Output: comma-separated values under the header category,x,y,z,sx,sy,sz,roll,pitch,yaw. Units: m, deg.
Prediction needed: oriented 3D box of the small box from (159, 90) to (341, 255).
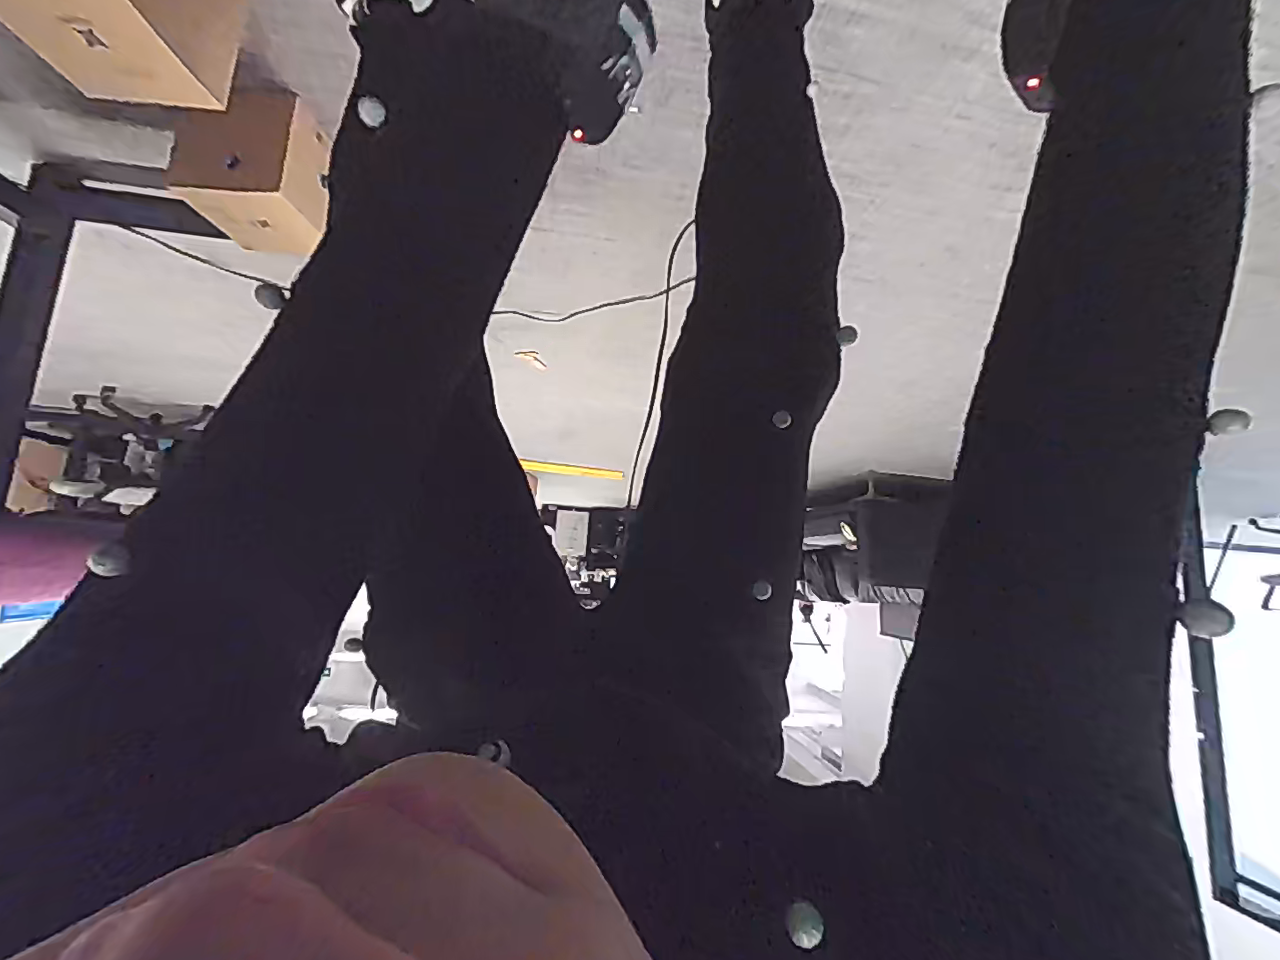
category,x,y,z,sx,sy,sz,roll,pitch,yaw
small box,-0.607,-0.487,0.867,0.179,0.176,0.168,4,171,0

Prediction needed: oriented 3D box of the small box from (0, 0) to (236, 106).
category,x,y,z,sx,sy,sz,roll,pitch,yaw
small box,-0.564,-0.536,0.556,0.168,0.176,0.179,5,172,-2
